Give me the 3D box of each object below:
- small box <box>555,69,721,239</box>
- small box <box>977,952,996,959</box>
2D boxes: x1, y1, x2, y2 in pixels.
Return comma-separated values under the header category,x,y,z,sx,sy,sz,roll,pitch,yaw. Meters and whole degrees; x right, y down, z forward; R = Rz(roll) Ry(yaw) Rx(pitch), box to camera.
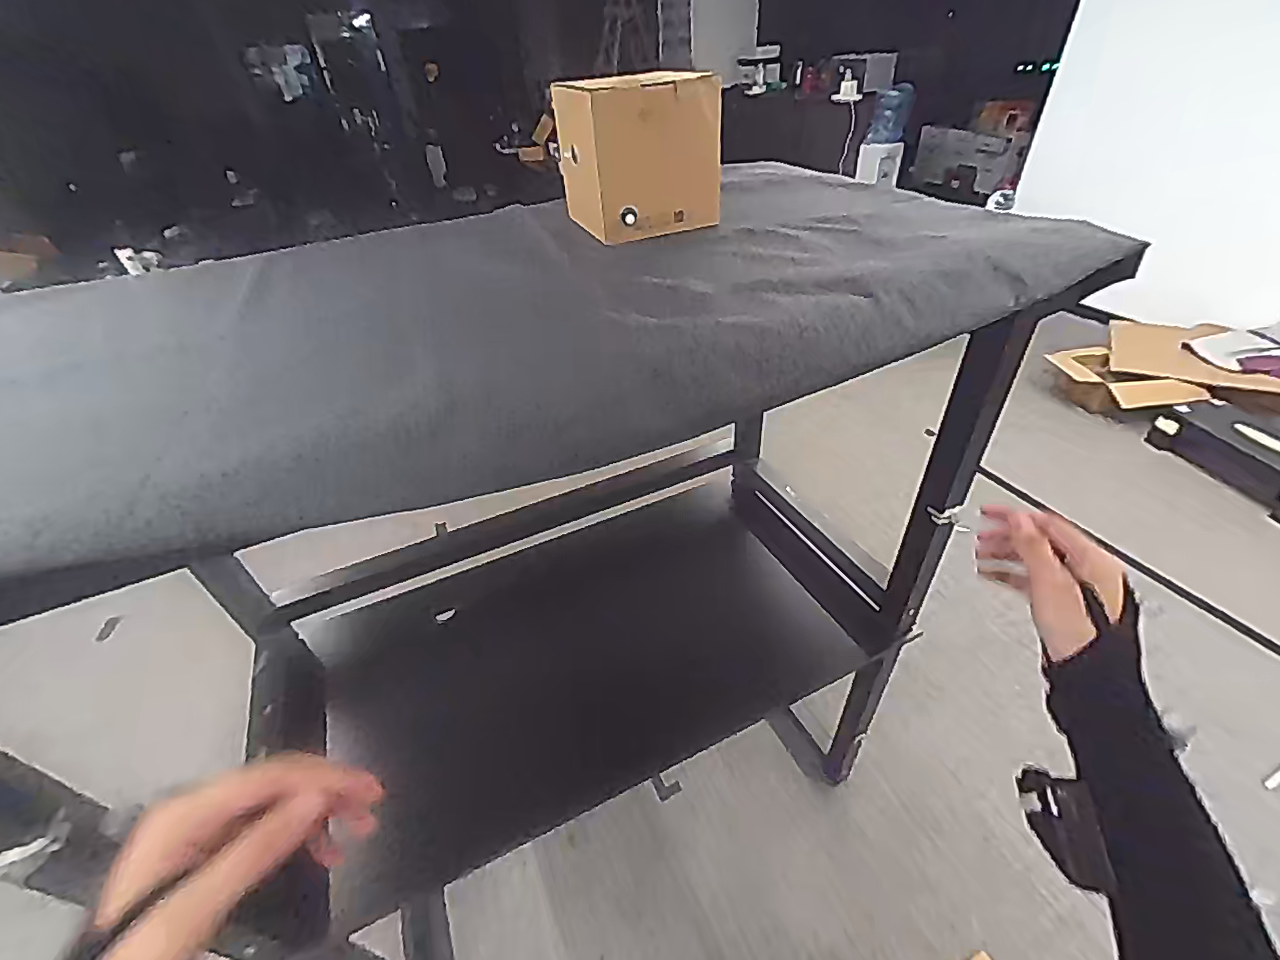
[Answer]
category,x,y,z,sx,sy,sz,roll,pitch,yaw
small box,-0.001,-0.436,0.727,0.168,0.176,0.179,-17,40,-14
small box,0.535,0.892,0.835,0.168,0.176,0.179,-22,42,-19
